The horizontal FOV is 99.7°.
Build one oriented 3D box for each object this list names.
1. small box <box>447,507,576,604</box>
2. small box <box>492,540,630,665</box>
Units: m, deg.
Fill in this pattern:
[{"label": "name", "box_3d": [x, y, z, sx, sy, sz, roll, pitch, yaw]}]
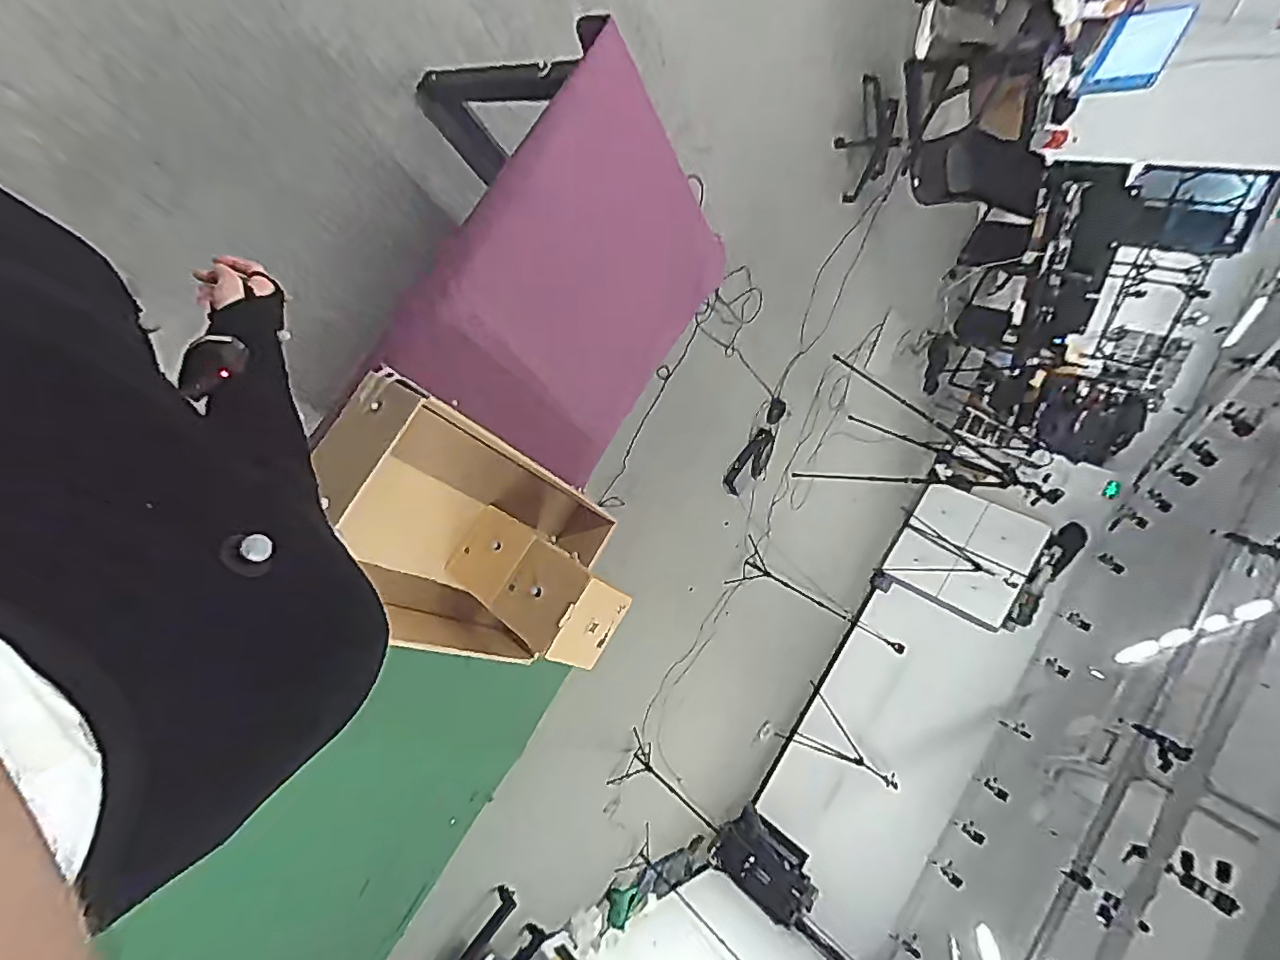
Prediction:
[{"label": "small box", "box_3d": [-0.279, 0.176, 1.167, 0.168, 0.176, 0.179, -58, 145, -8]}, {"label": "small box", "box_3d": [-0.159, 0.239, 1.076, 0.168, 0.176, 0.179, -57, 144, -9]}]
